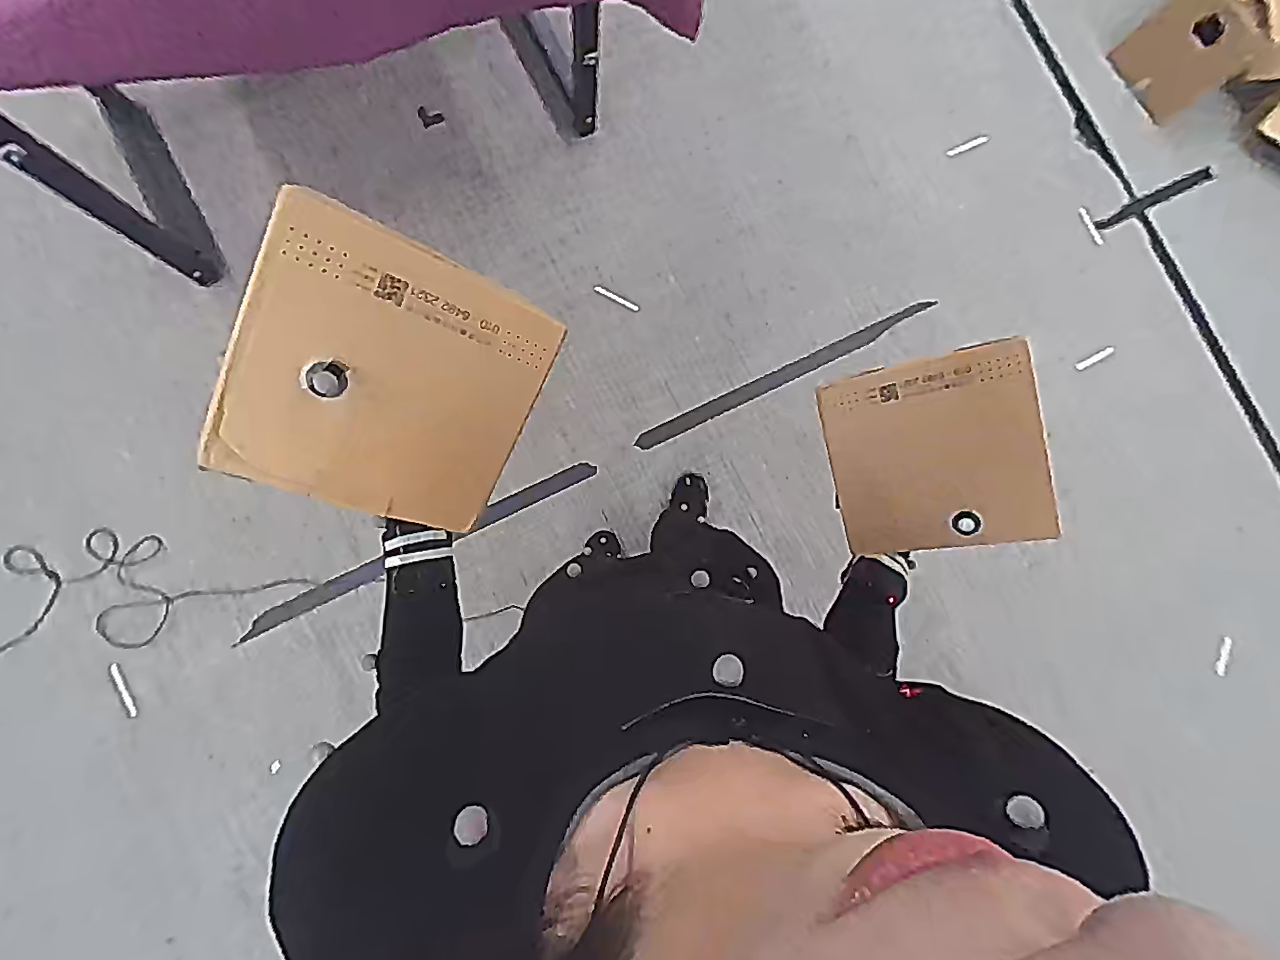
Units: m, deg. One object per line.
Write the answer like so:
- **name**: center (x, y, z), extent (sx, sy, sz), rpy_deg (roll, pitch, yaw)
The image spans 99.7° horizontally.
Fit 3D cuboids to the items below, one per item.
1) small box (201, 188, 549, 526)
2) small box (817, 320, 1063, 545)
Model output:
- **small box**: center (-0.184, -0.093, 0.398), extent (0.168, 0.179, 0.176), rpy_deg (19, 105, -32)
- **small box**: center (0.286, -0.052, 0.530), extent (0.168, 0.179, 0.176), rpy_deg (-12, 98, 31)
